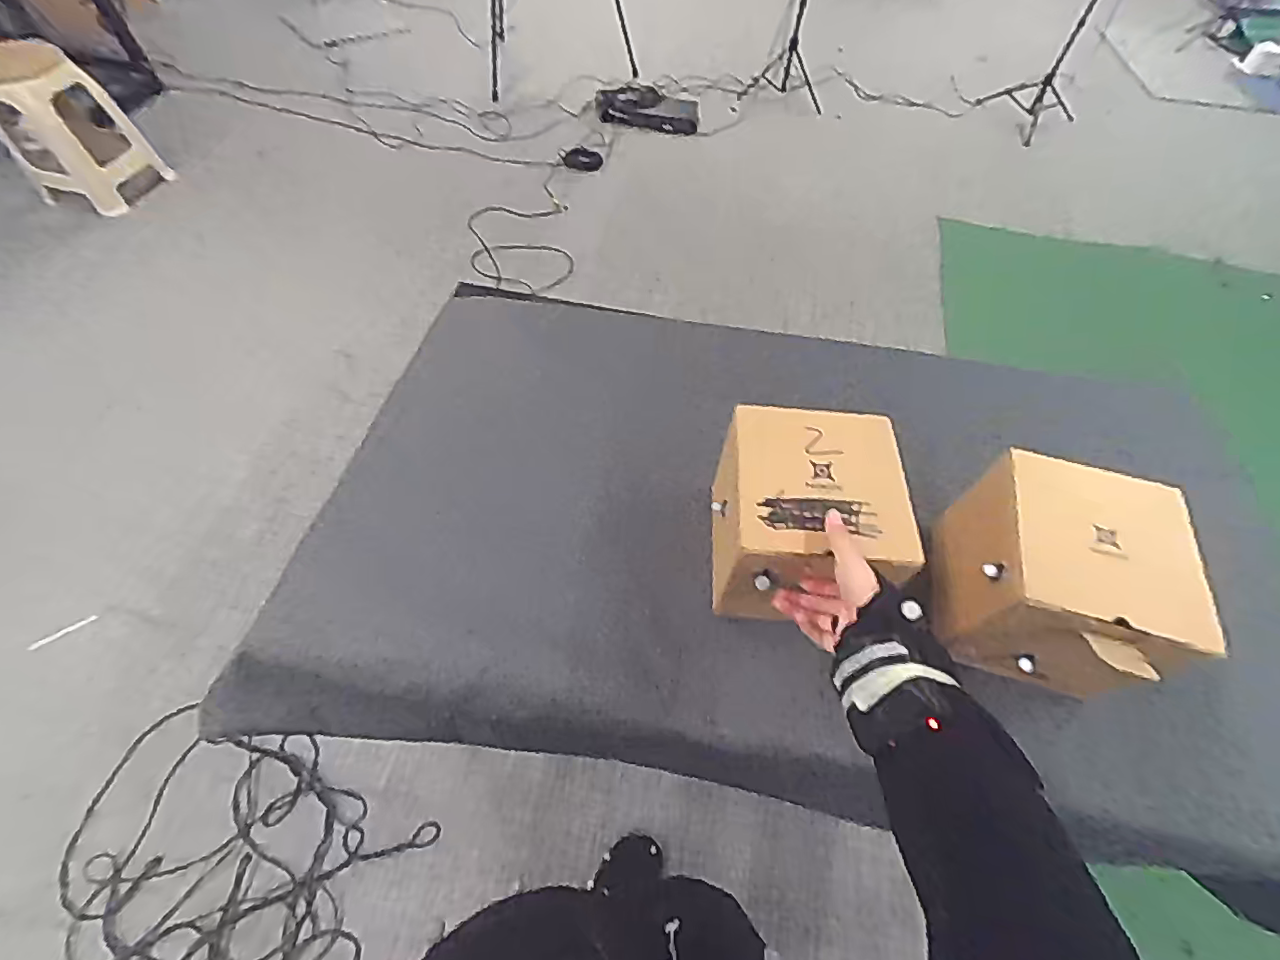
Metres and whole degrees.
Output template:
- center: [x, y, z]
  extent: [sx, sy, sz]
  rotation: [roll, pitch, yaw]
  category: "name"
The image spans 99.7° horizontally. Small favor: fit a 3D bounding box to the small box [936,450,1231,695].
- center: [0.435, 0.102, 0.571]
  extent: [0.168, 0.176, 0.179]
  rotation: [16, 58, 7]
  category: "small box"
